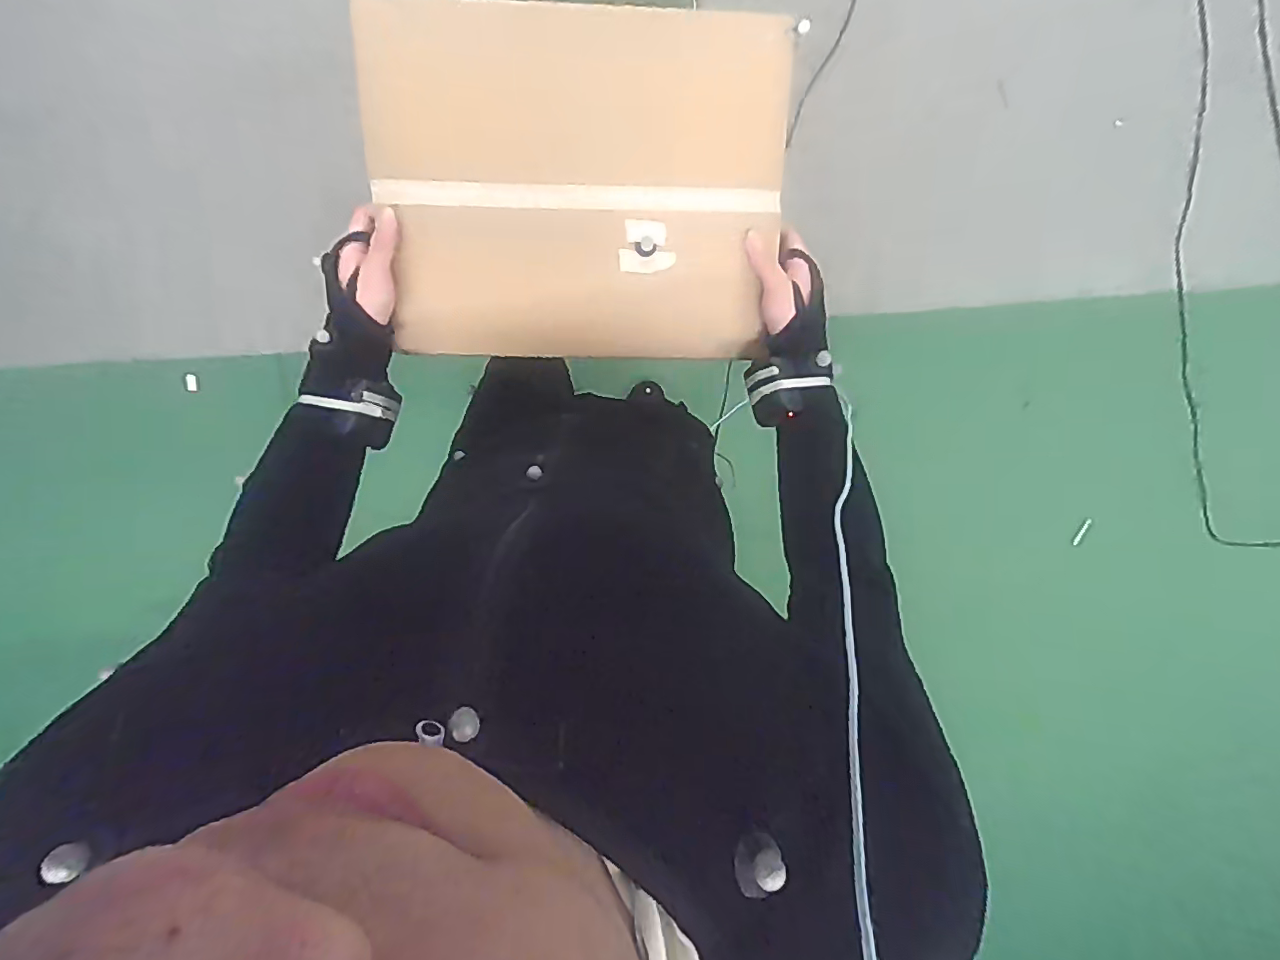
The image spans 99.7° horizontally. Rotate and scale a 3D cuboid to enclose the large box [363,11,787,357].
[{"bbox_3d":[-0.068,-0.331,0.691,0.408,0.320,0.320,0,109,-4],"label":"large box"}]
